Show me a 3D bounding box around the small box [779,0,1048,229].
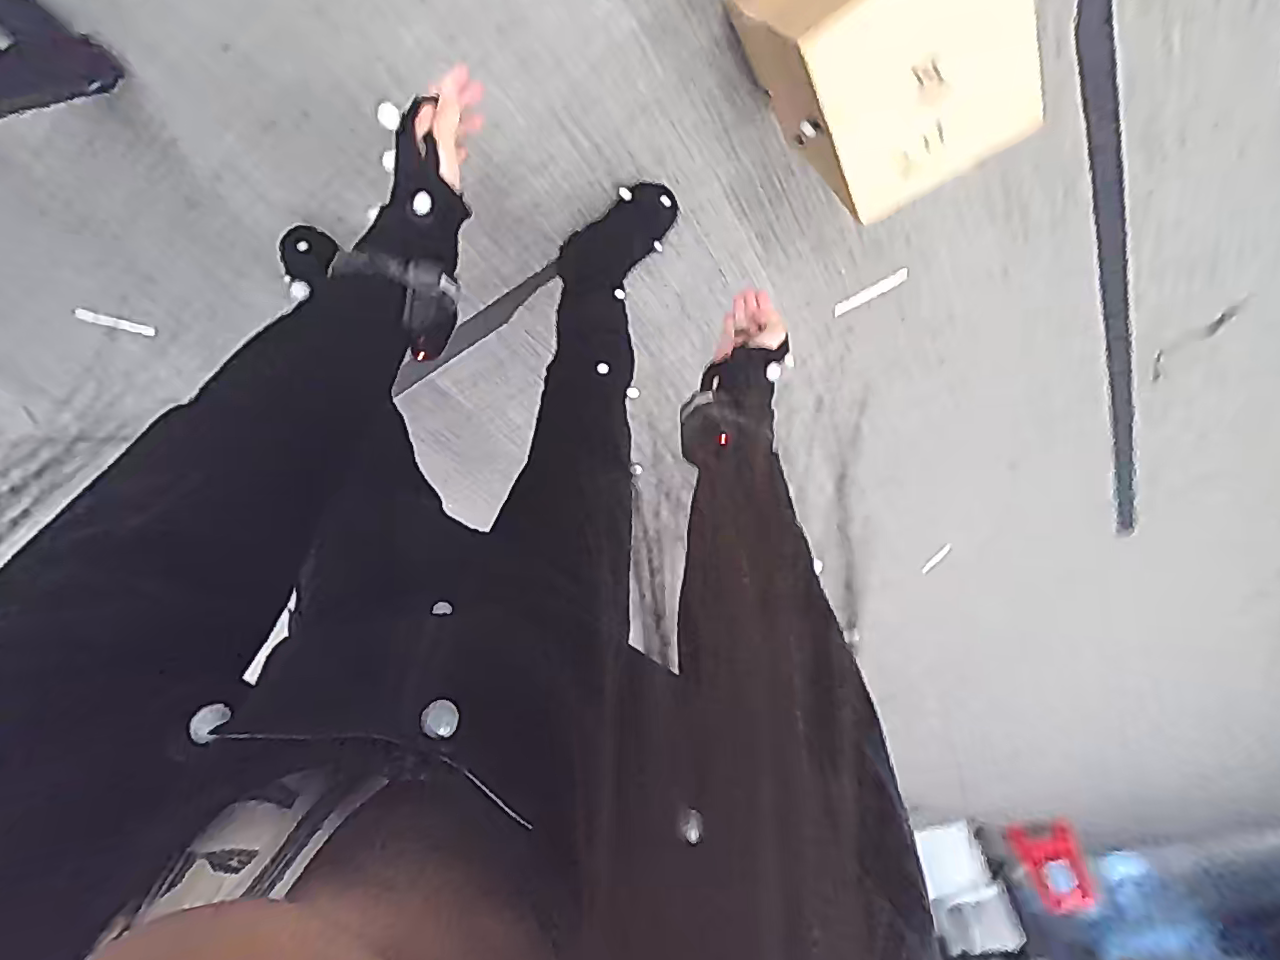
[{"bbox_3d":[0.251,-0.388,0.519,0.168,0.176,0.179,-25,132,21],"label":"small box"}]

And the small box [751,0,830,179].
[{"bbox_3d":[0.246,-0.503,0.637,0.168,0.176,0.179,-25,131,21],"label":"small box"}]

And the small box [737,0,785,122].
[{"bbox_3d":[0.247,-0.622,0.748,0.179,0.176,0.168,-27,130,21],"label":"small box"}]
